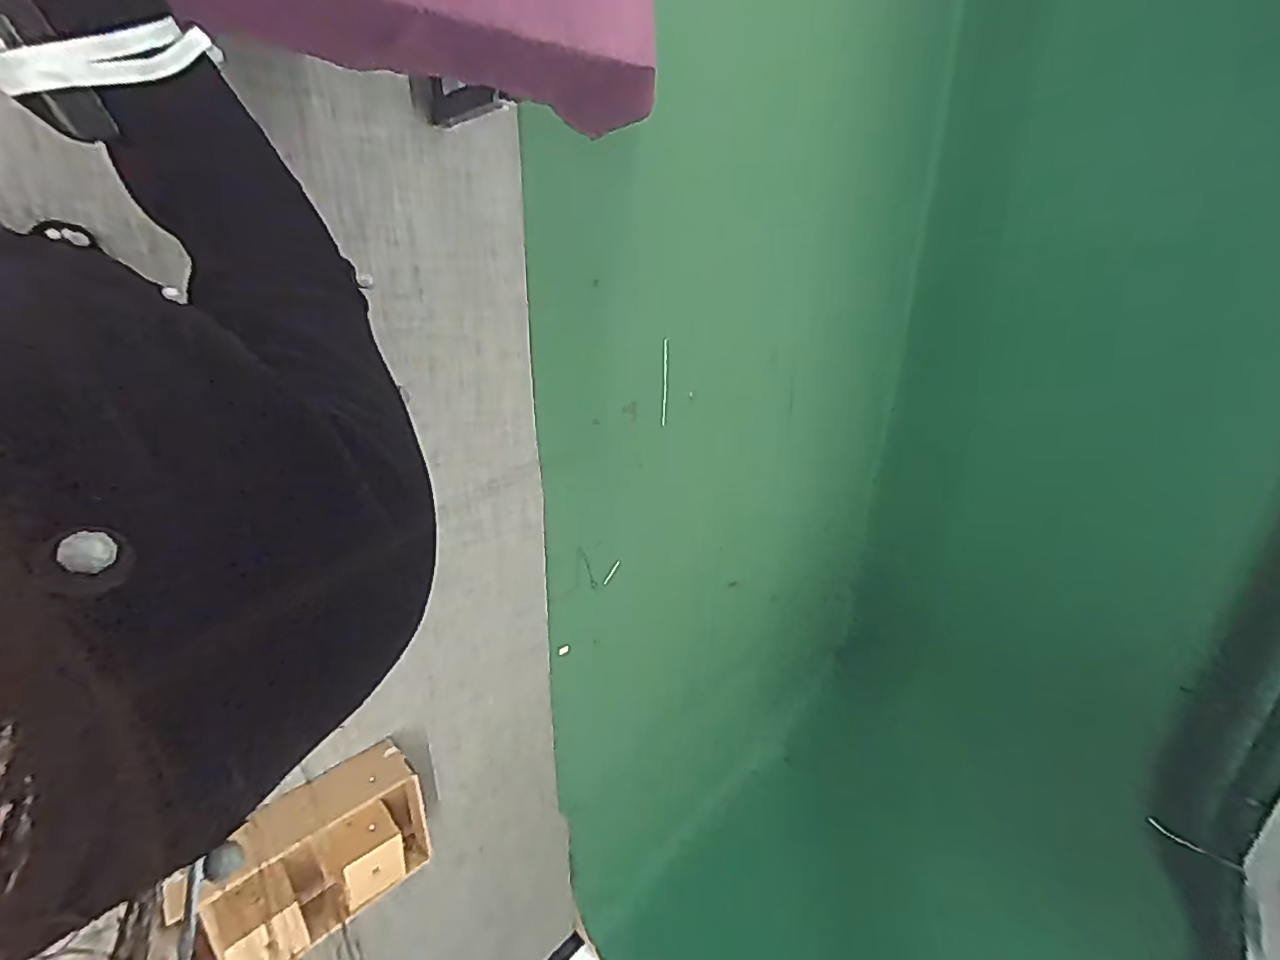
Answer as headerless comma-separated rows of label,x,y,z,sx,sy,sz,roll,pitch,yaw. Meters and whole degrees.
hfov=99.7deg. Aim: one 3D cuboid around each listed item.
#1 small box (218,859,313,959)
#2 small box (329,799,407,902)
small box,-1.039,1.202,1.497,0.168,0.176,0.179,-20,118,-41
small box,-0.845,1.134,1.679,0.168,0.176,0.179,-14,116,-42
